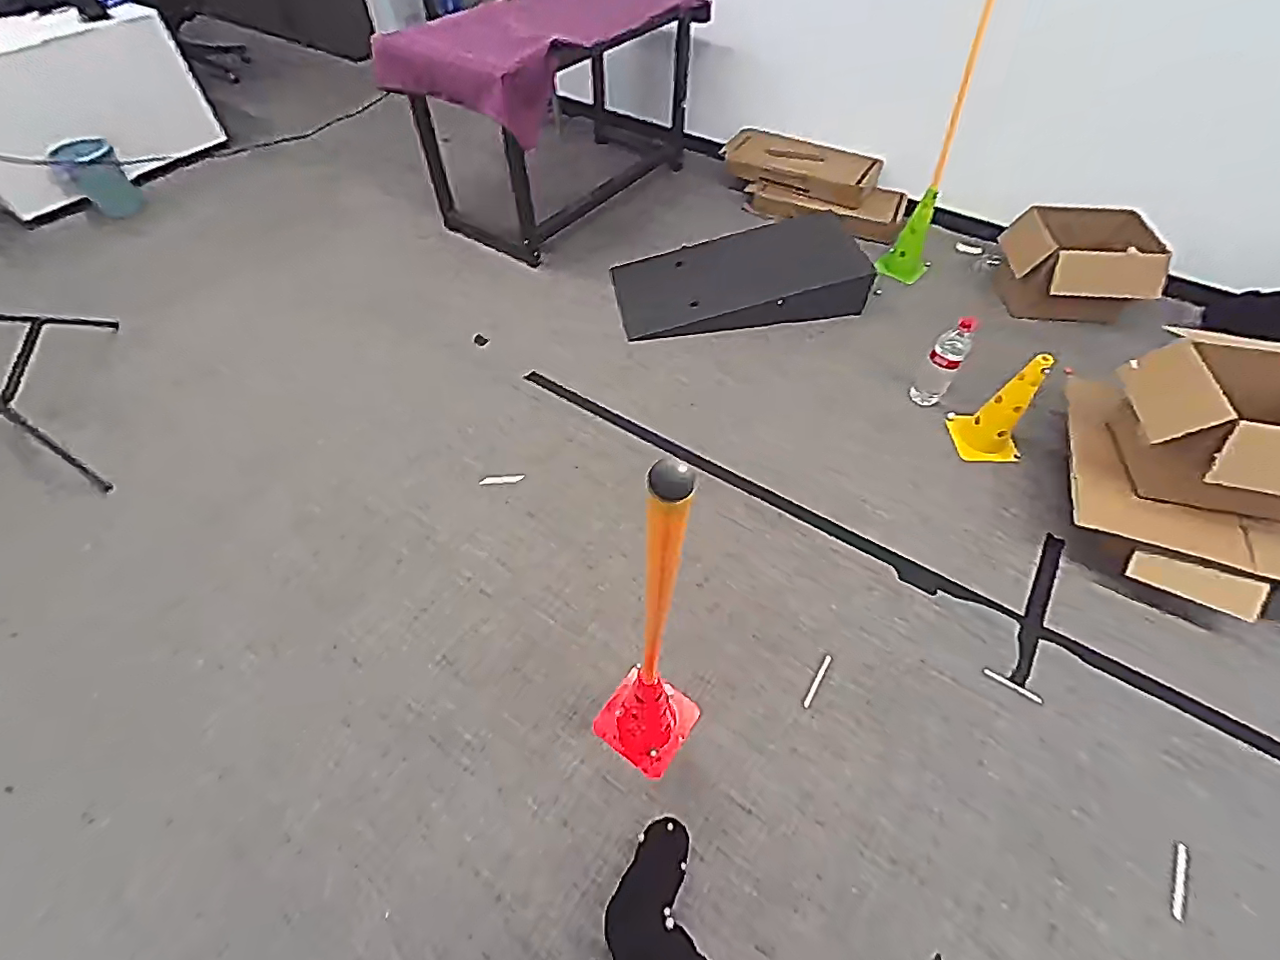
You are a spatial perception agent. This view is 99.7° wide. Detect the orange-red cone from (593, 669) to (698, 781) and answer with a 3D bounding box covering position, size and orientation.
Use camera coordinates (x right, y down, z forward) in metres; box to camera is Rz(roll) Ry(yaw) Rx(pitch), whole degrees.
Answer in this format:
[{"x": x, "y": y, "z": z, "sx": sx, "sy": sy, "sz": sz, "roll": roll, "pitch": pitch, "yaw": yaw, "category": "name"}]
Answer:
[{"x": 0.016, "y": 0.477, "z": 1.155, "sx": 0.198, "sy": 0.360, "sz": 0.199, "roll": 32, "pitch": 59, "yaw": 20, "category": "orange-red cone"}]
